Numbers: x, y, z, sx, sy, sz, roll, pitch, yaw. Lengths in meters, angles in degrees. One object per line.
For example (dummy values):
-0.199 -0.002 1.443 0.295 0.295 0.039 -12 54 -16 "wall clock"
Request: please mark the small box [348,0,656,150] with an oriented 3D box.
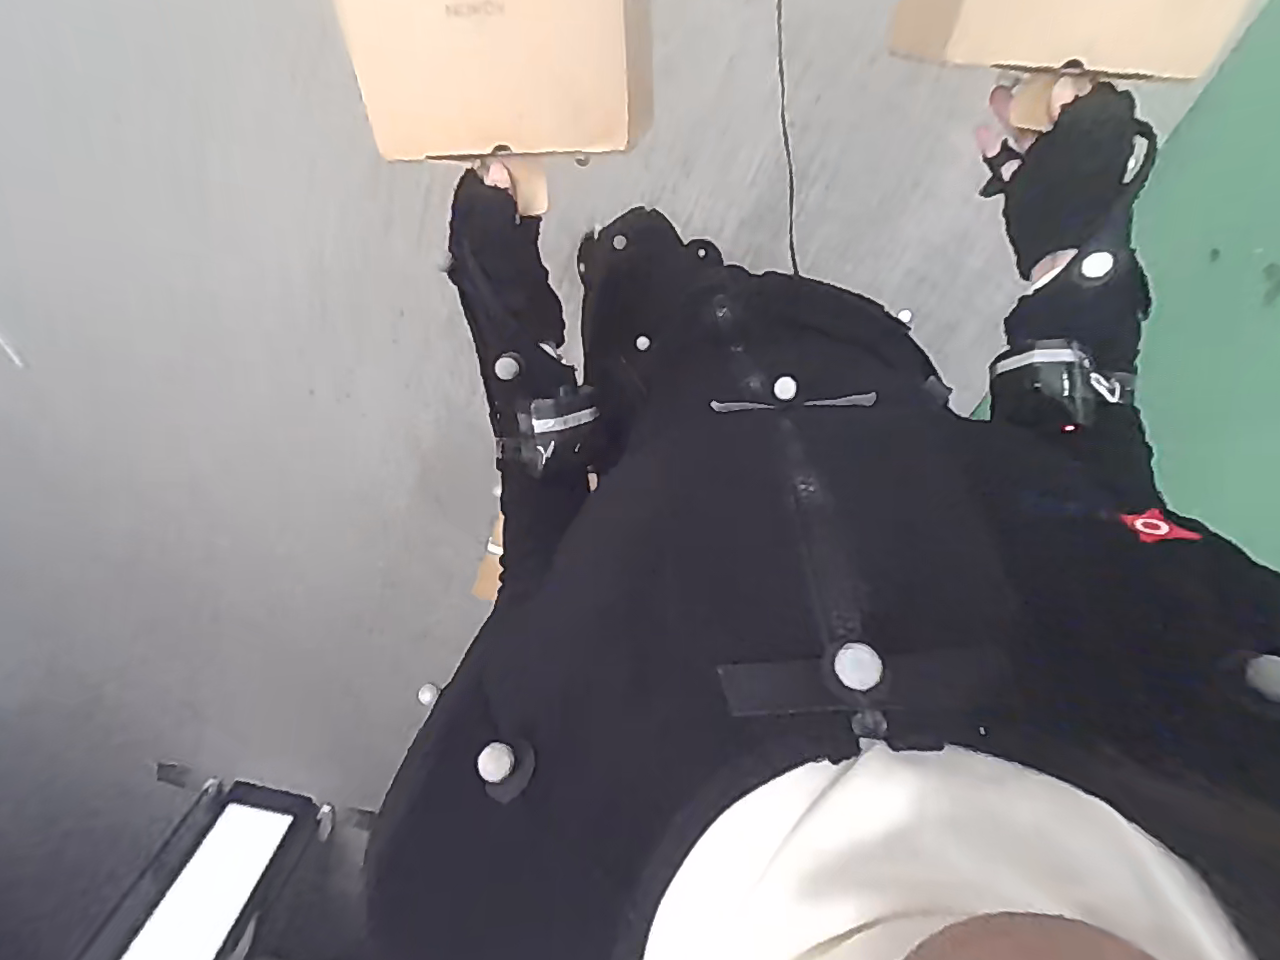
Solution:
-0.078 -0.332 0.355 0.168 0.176 0.179 1 128 6 "small box"
